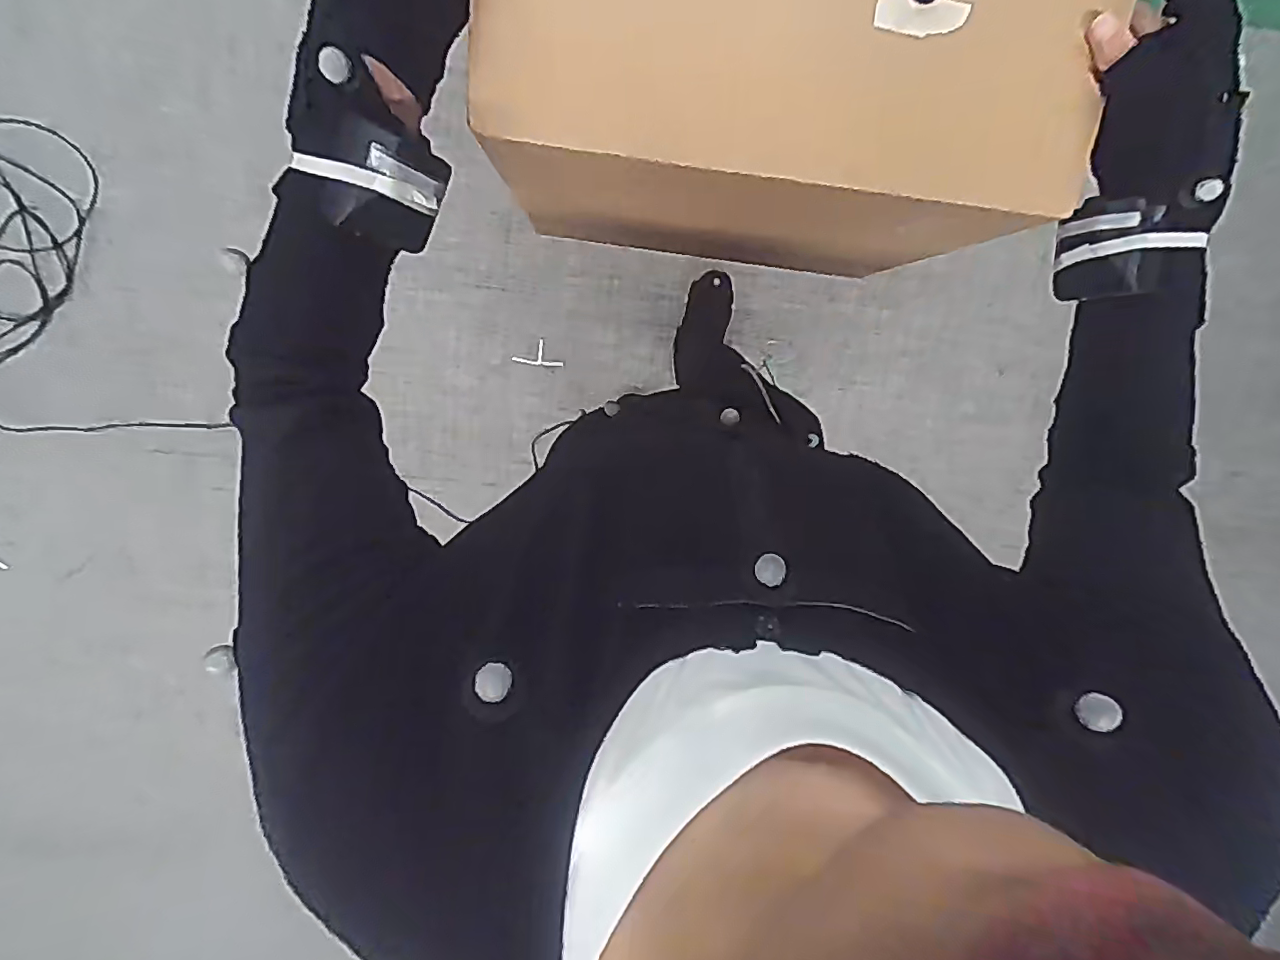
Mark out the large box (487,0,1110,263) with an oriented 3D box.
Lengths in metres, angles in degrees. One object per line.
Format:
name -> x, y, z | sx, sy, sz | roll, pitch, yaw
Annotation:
large box -> 0.100, -0.393, 0.474 | 0.408, 0.320, 0.320 | 5, 104, -4
